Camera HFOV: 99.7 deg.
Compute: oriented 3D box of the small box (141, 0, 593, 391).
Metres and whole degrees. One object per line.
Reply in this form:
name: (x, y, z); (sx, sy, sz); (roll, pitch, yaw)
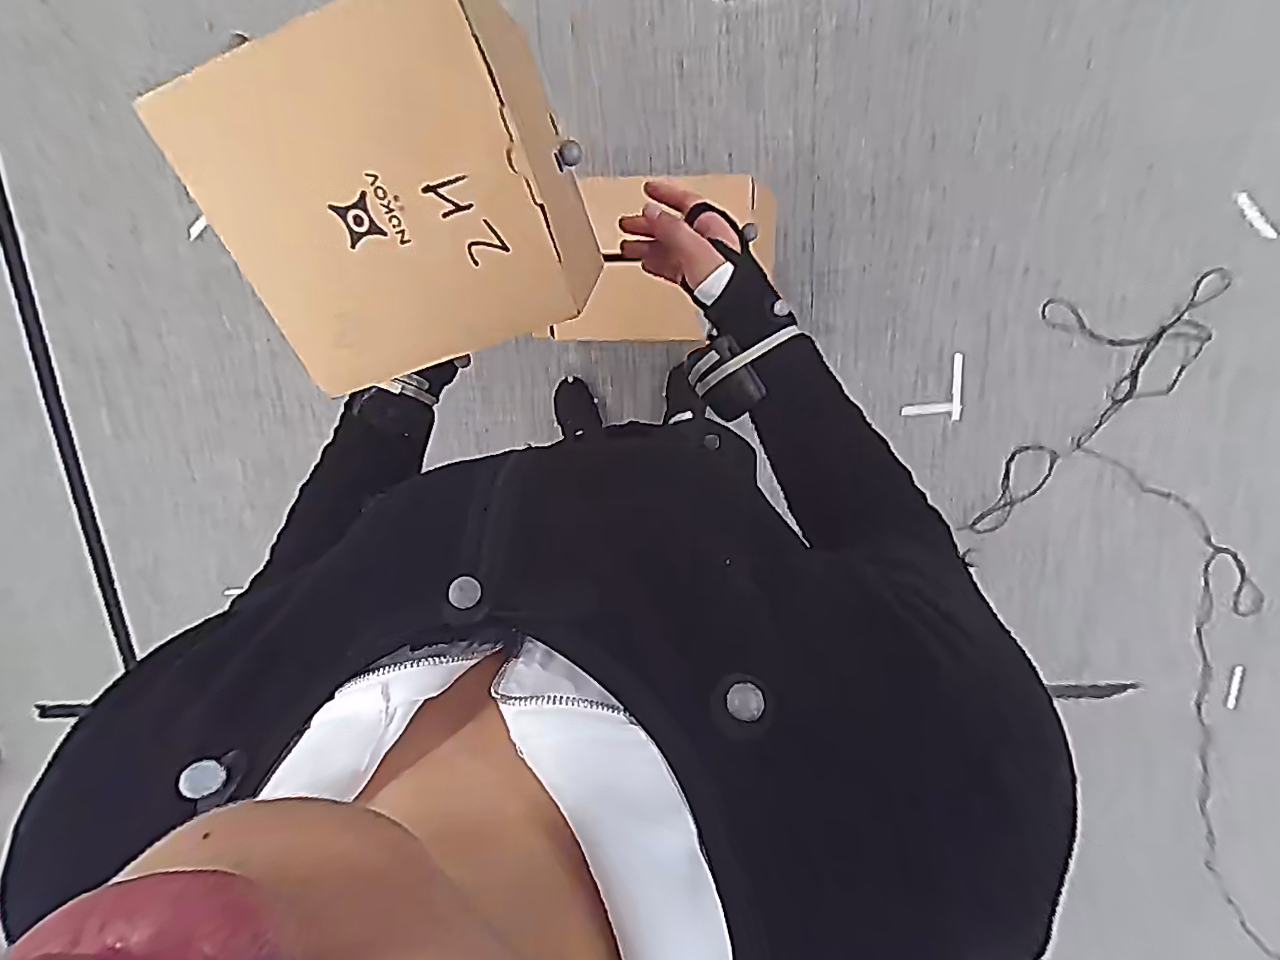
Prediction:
small box: (-0.143, -0.184, 0.362); (0.179, 0.176, 0.168); (-16, 120, 10)
